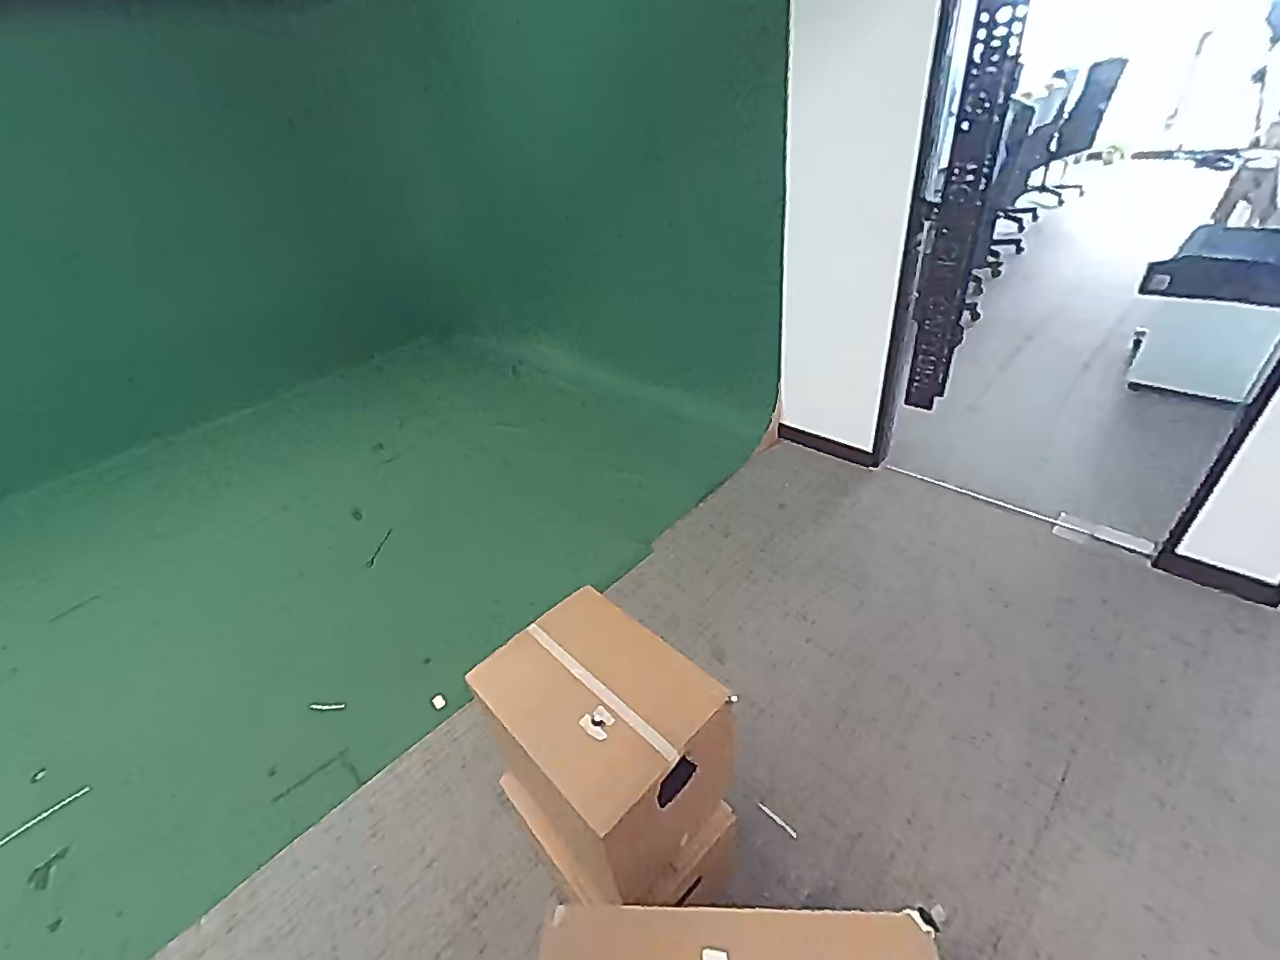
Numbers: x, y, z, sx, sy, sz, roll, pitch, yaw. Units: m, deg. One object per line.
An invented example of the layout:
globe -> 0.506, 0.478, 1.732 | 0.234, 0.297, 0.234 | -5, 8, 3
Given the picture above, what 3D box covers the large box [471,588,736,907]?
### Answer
large box -> -0.068, 0.493, 1.063 | 0.320, 0.320, 0.408 | -31, 42, -32
